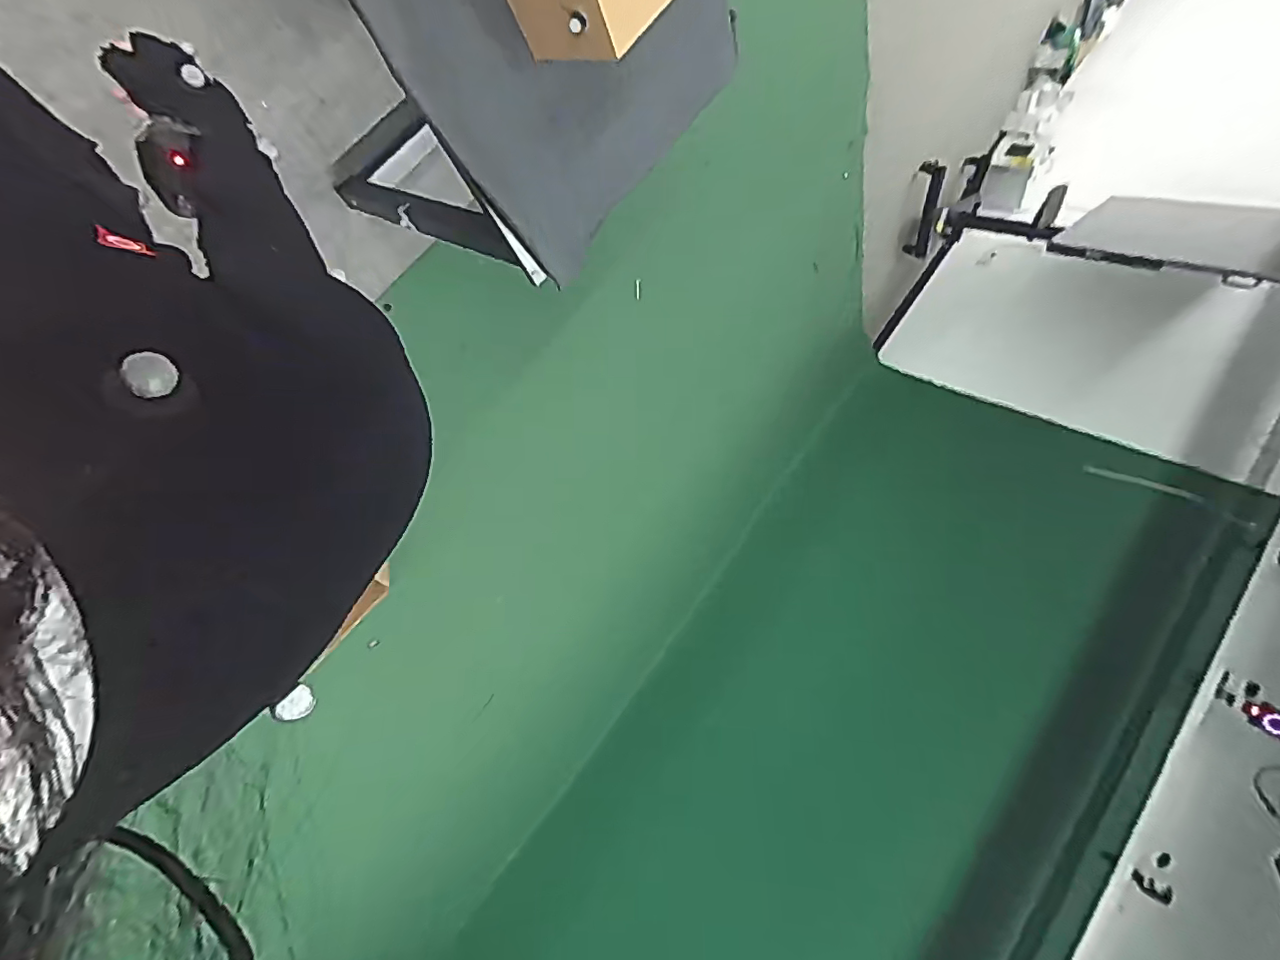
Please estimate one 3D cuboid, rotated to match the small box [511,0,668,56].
[{"bbox_3d":[-0.069,-0.660,0.654,0.168,0.176,0.179,-54,147,-10],"label":"small box"}]
